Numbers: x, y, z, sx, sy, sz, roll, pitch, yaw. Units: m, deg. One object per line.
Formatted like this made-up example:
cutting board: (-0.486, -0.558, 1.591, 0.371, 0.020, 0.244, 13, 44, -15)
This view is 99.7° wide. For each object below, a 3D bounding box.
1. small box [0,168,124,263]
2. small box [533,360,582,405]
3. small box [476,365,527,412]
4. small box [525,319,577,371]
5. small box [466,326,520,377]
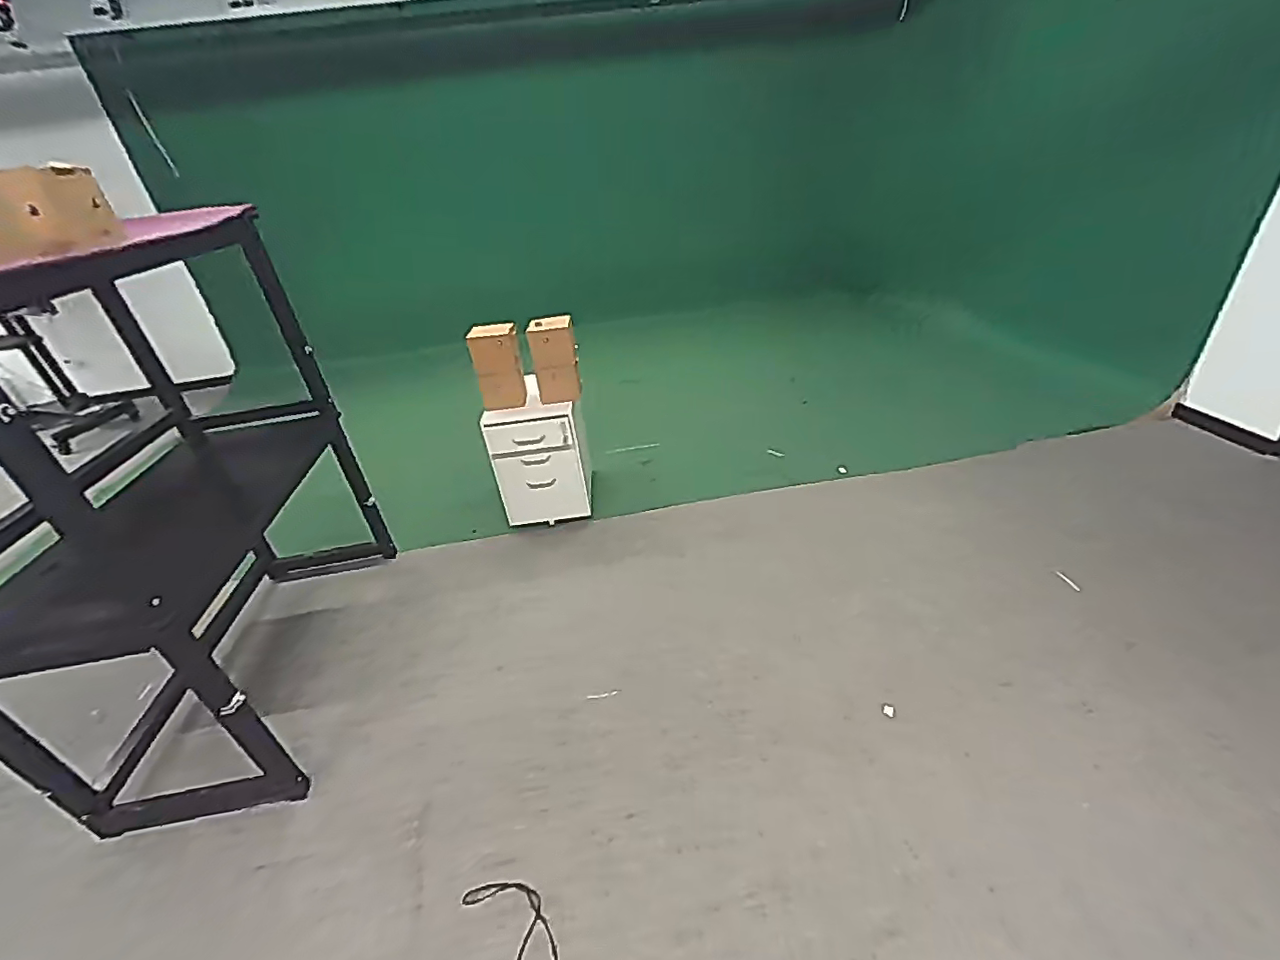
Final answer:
small box: (-1.359, -0.606, 1.236, 0.179, 0.176, 0.168, -9, 31, -2)
small box: (-0.366, -0.442, 2.409, 0.179, 0.176, 0.168, -6, 33, 2)
small box: (-0.615, -0.413, 2.417, 0.179, 0.176, 0.168, -7, 32, -1)
small box: (-0.378, -0.578, 2.318, 0.179, 0.176, 0.168, -7, 32, 1)
small box: (-0.630, -0.552, 2.332, 0.179, 0.176, 0.168, -5, 32, -1)
